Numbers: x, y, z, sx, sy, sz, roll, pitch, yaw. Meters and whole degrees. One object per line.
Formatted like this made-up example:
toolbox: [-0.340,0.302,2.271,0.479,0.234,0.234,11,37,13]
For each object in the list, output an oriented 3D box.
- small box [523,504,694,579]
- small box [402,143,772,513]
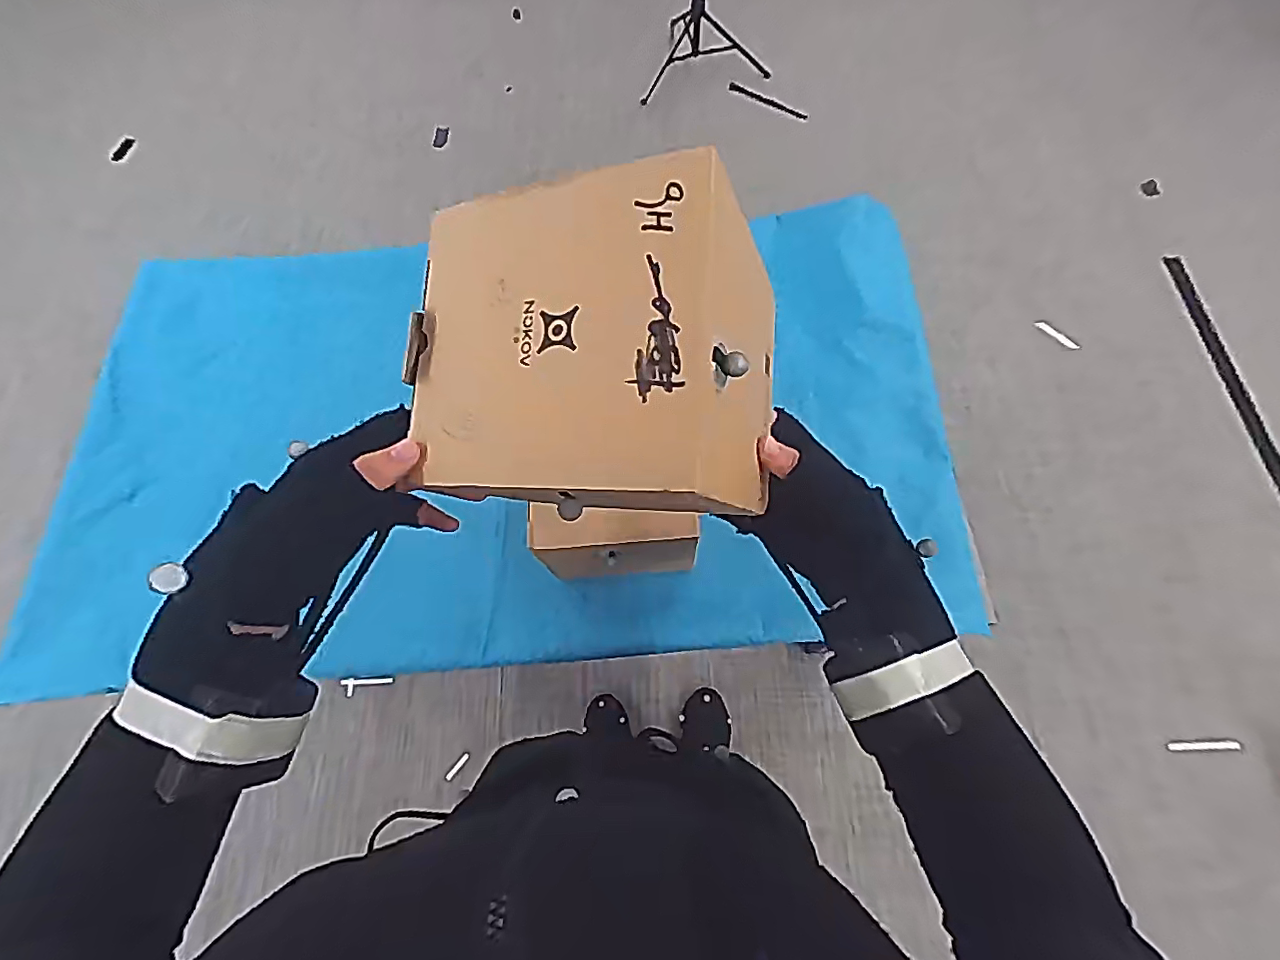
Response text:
small box: [-0.029,0.019,0.642,0.179,0.176,0.168,-4,70,3]
small box: [-0.019,-0.066,0.351,0.179,0.176,0.168,-2,82,24]
